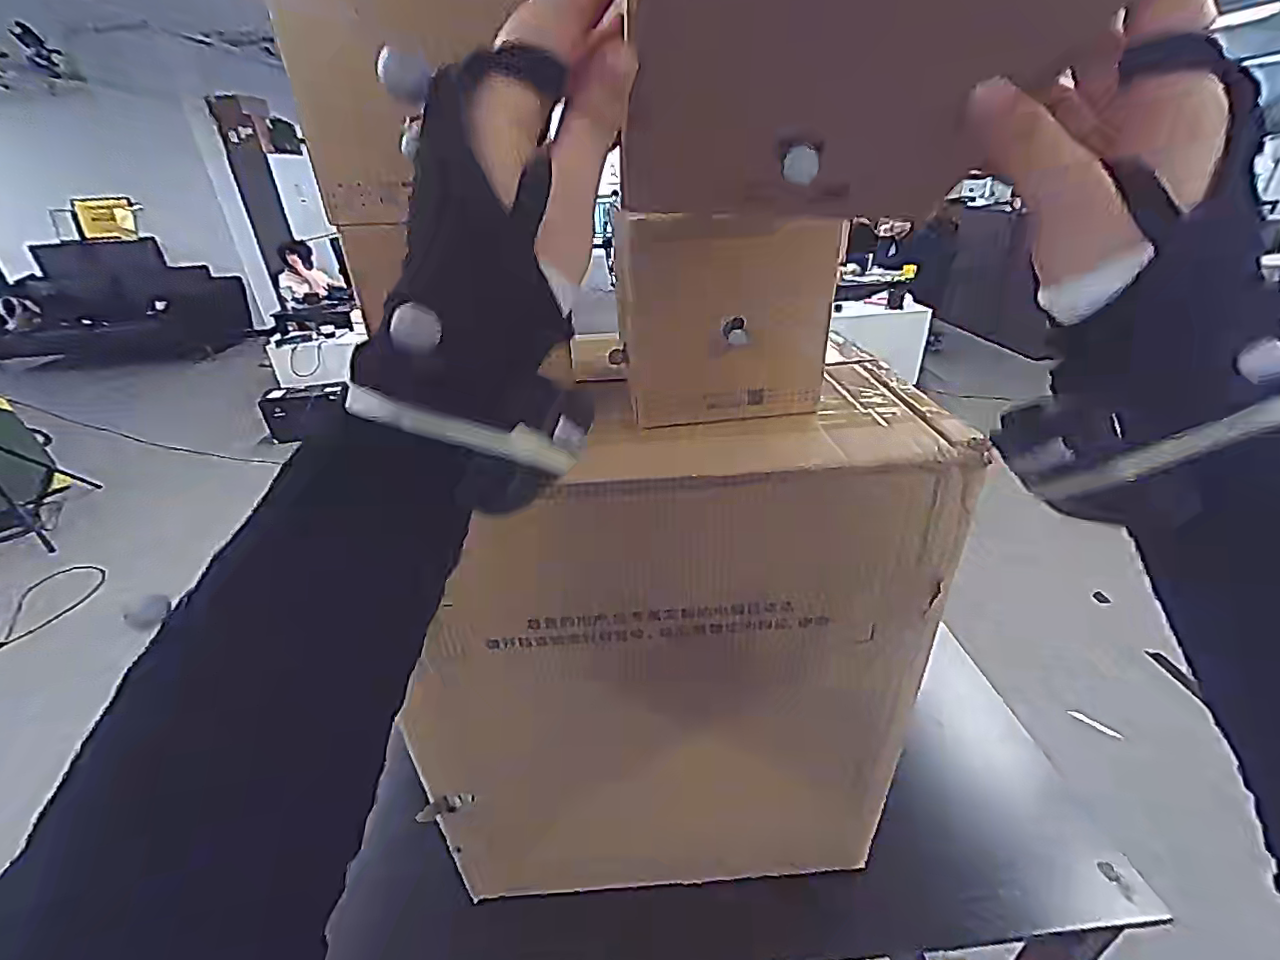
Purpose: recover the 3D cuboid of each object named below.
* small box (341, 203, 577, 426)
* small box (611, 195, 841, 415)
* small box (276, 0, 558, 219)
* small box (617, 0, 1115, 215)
[{"bbox_3d":[-0.152,-0.165,0.518,0.168,0.176,0.179,-6,32,-7],"label":"small box"},{"bbox_3d":[0.064,-0.166,0.502,0.168,0.176,0.179,-5,32,-4],"label":"small box"},{"bbox_3d":[-0.159,-0.306,0.433,0.168,0.176,0.179,-5,31,-5],"label":"small box"},{"bbox_3d":[0.076,-0.240,0.215,0.168,0.179,0.176,-1,-9,-4],"label":"small box"}]
